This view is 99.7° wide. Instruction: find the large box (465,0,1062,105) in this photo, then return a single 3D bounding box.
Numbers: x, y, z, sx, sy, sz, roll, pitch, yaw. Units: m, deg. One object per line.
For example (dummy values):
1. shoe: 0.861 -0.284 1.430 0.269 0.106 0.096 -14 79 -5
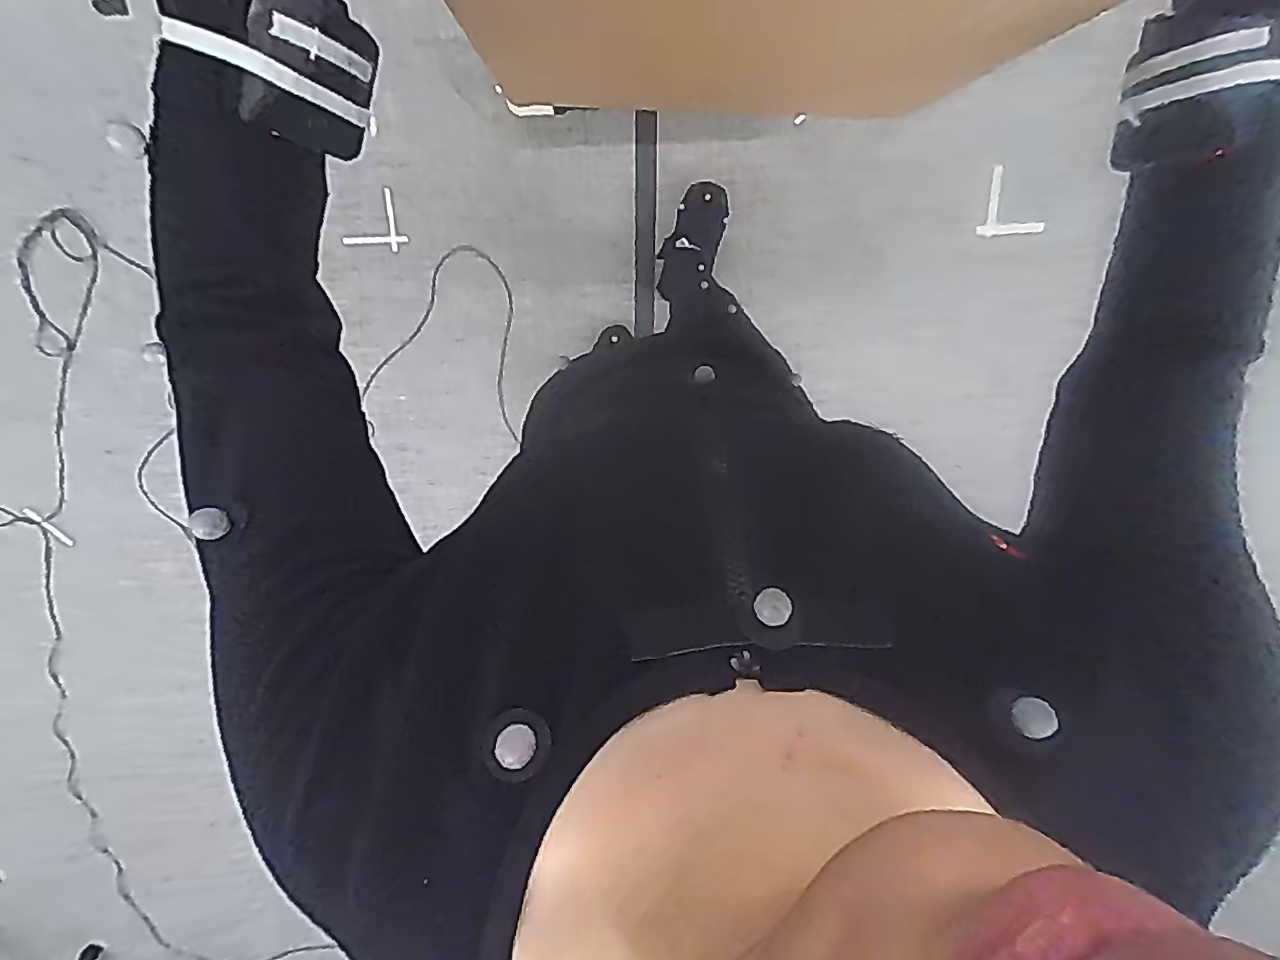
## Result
1. large box: 0.077 -0.471 0.355 0.408 0.320 0.320 -1 112 -3
